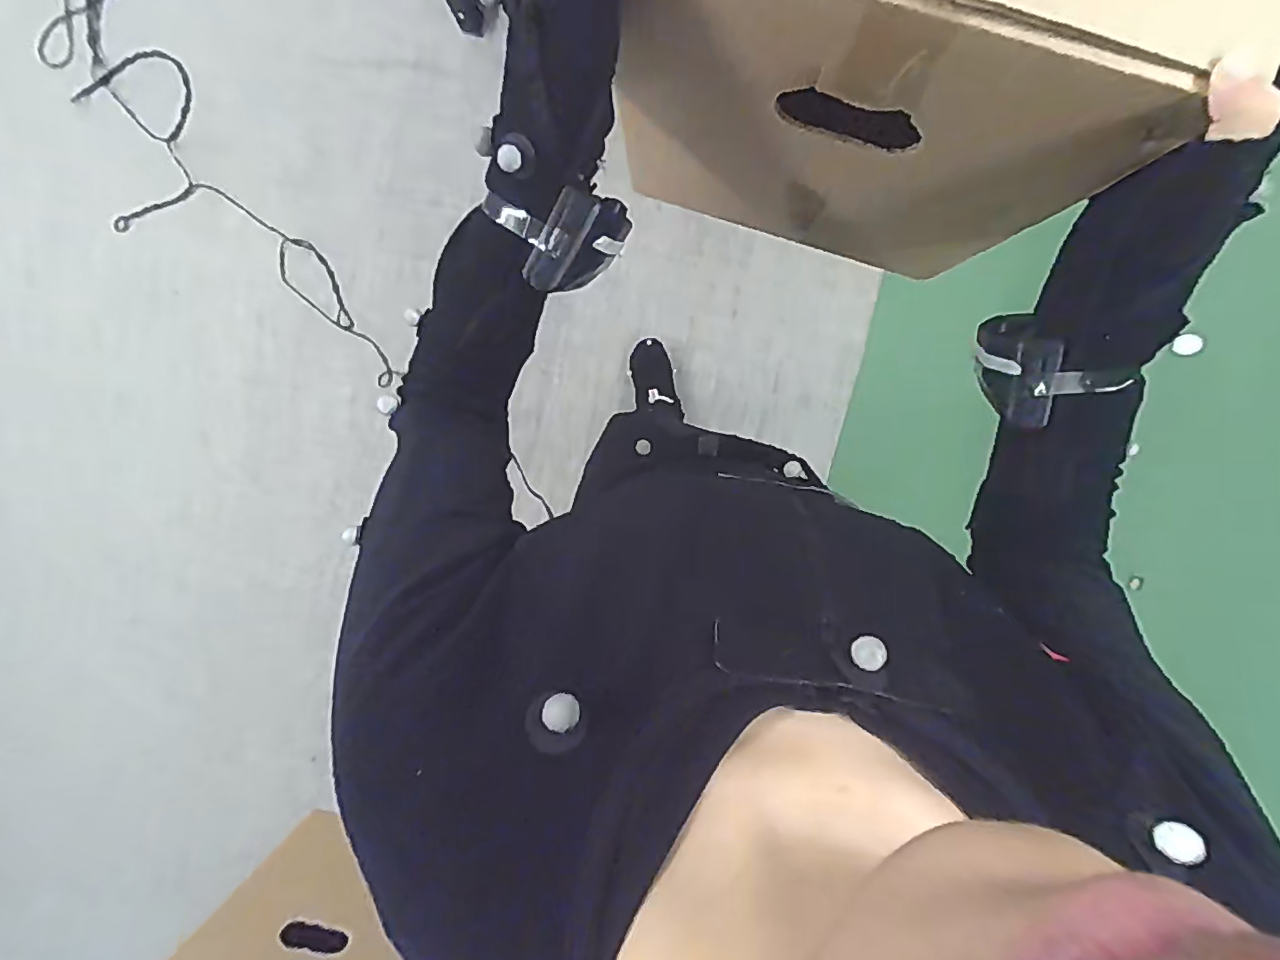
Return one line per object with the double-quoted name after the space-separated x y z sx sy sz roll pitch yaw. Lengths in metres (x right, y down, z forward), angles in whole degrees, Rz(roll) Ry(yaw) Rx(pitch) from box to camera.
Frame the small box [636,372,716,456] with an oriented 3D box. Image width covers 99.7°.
0.085 -0.174 1.396 0.168 0.176 0.179 4 107 -9 "small box"
